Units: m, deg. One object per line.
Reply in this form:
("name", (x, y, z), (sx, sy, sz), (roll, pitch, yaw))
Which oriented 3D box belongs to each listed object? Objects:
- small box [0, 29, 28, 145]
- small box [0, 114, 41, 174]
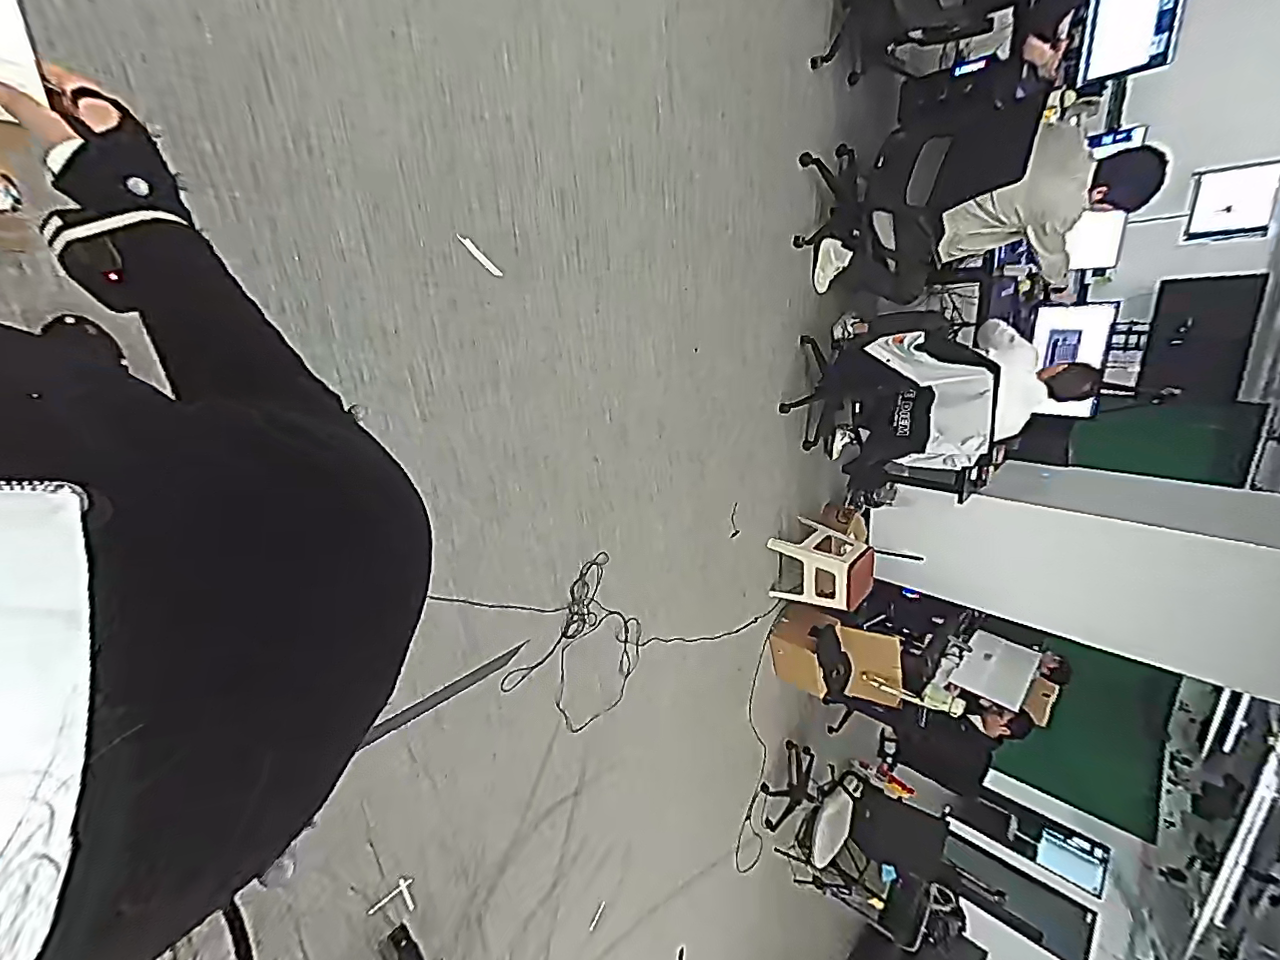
("small box", (-0.634, -0.387, 0.422), (0.168, 0.176, 0.179), (-23, 119, -43))
("small box", (-0.751, -0.410, 0.532), (0.179, 0.176, 0.168), (-26, 119, -41))
